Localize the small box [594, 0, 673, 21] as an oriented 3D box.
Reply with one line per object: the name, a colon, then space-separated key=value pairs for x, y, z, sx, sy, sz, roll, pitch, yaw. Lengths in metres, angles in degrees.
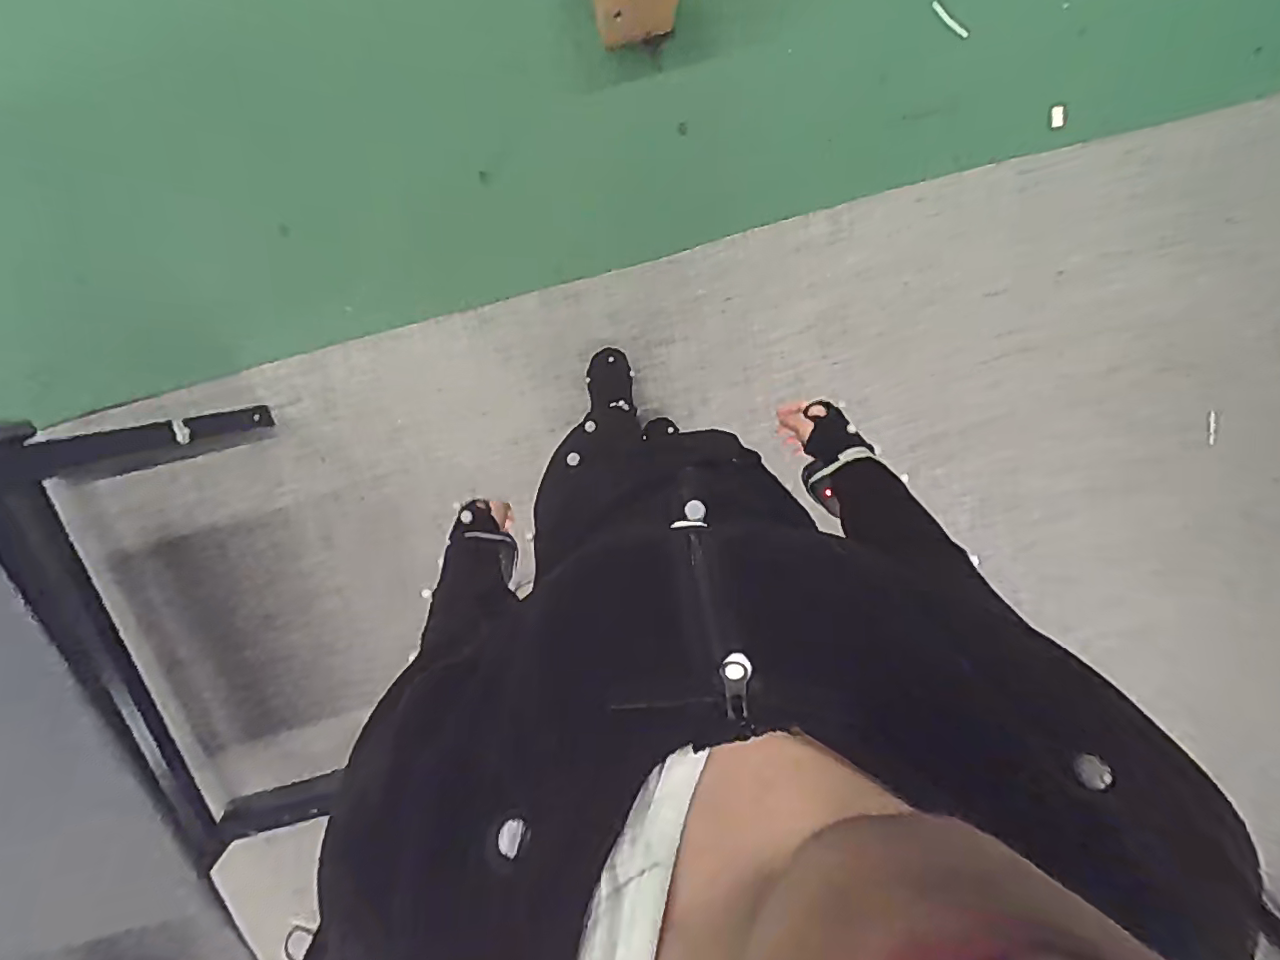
small box: x=-0.020 y=-1.031 z=1.020 sx=0.168 sy=0.176 sz=0.179 roll=-16 pitch=102 yaw=-3
